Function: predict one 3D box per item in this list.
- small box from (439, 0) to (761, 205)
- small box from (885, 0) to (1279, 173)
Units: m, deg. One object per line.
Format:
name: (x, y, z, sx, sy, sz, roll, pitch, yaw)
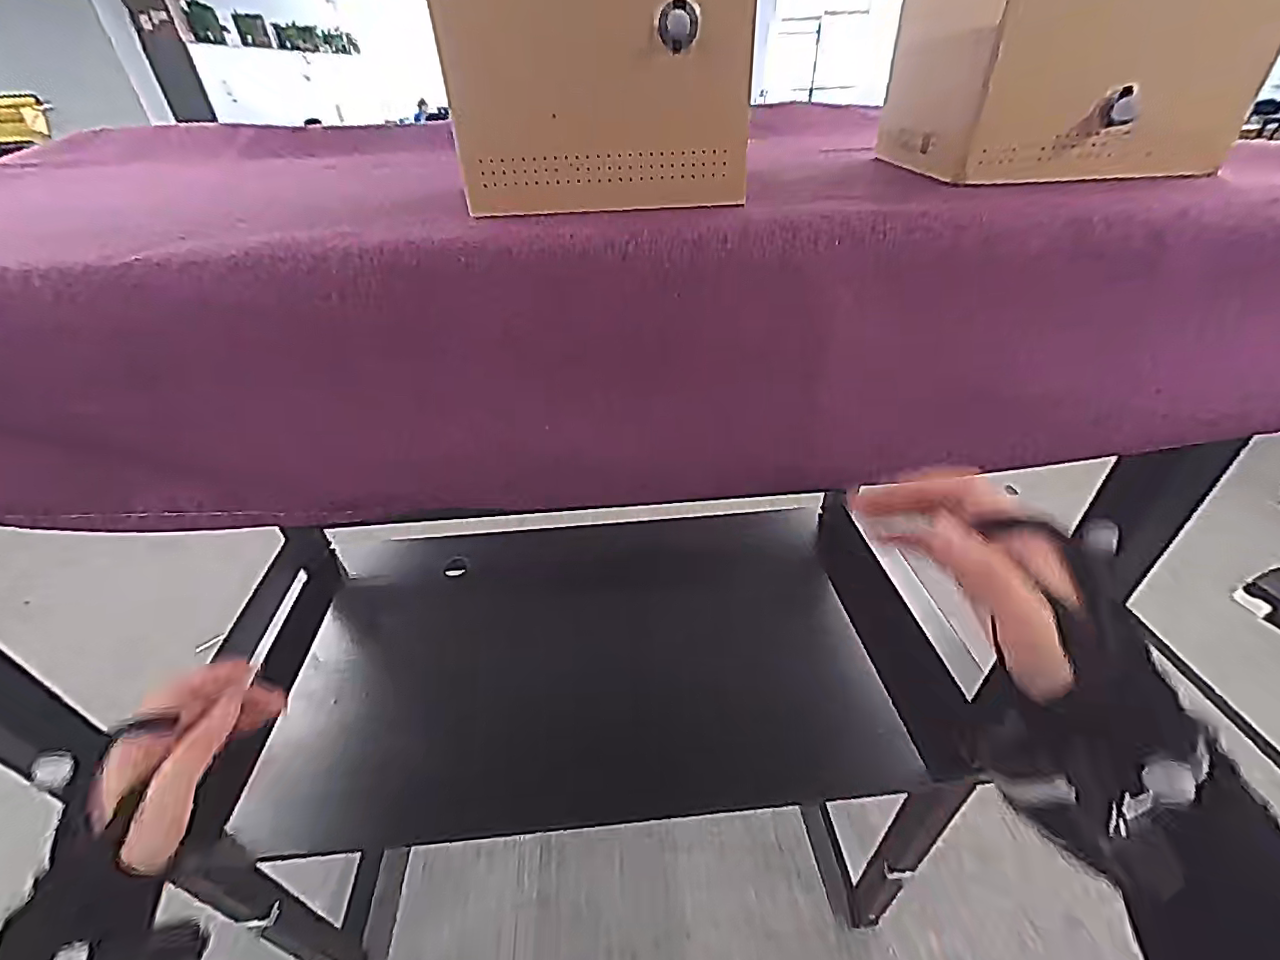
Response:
small box: (-0.021, -0.289, 0.354, 0.179, 0.176, 0.168, -3, 36, 0)
small box: (0.299, -0.321, 0.373, 0.179, 0.176, 0.168, -1, 36, 1)
